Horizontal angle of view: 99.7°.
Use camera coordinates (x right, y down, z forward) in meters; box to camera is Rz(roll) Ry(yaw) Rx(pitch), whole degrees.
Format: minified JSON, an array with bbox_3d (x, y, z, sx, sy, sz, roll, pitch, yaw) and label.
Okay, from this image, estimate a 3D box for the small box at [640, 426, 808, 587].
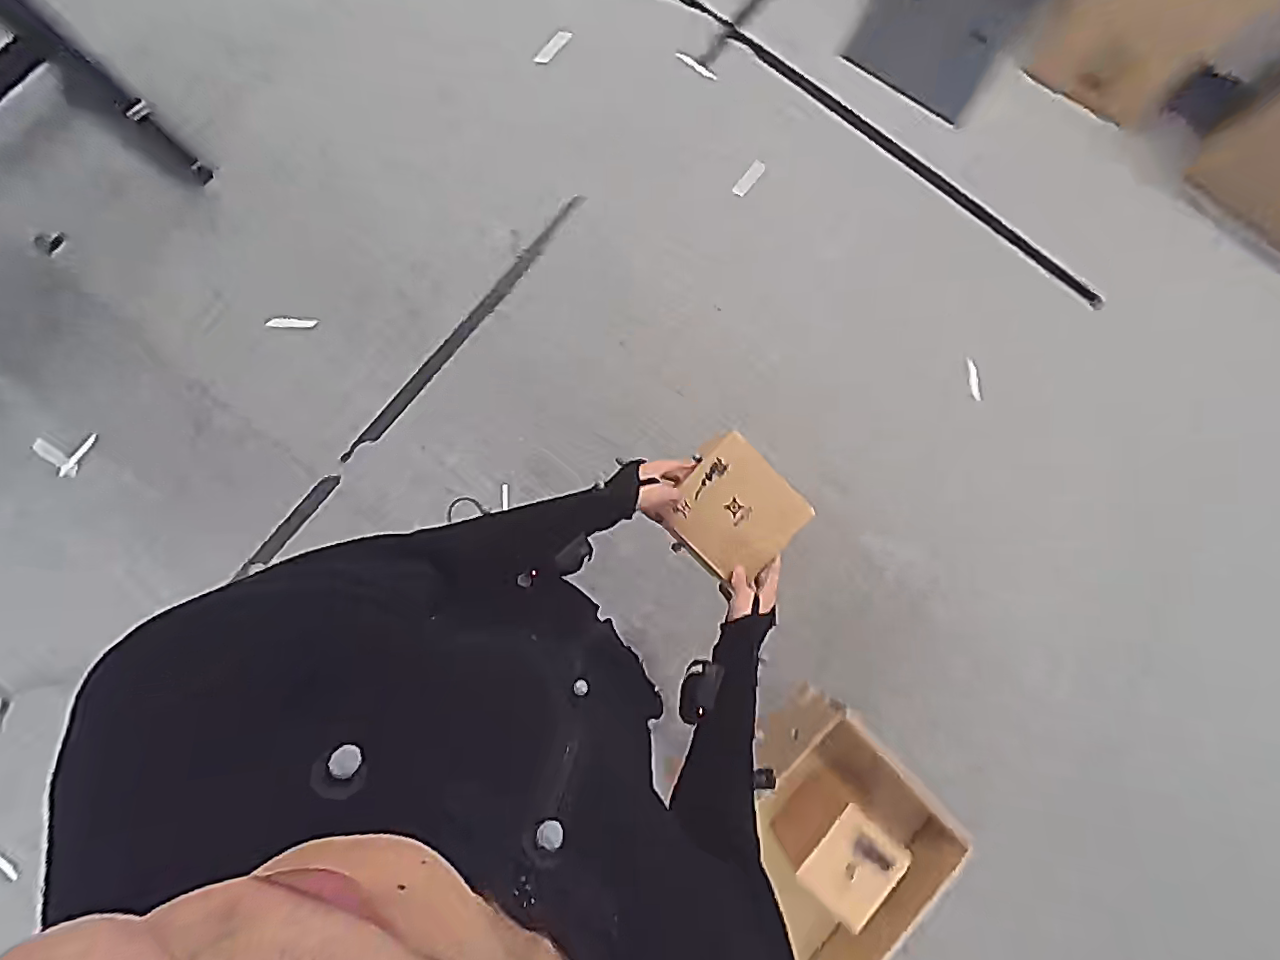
[{"bbox_3d":[0.120,0.036,0.847,0.179,0.176,0.168,45,85,-5],"label":"small box"}]
